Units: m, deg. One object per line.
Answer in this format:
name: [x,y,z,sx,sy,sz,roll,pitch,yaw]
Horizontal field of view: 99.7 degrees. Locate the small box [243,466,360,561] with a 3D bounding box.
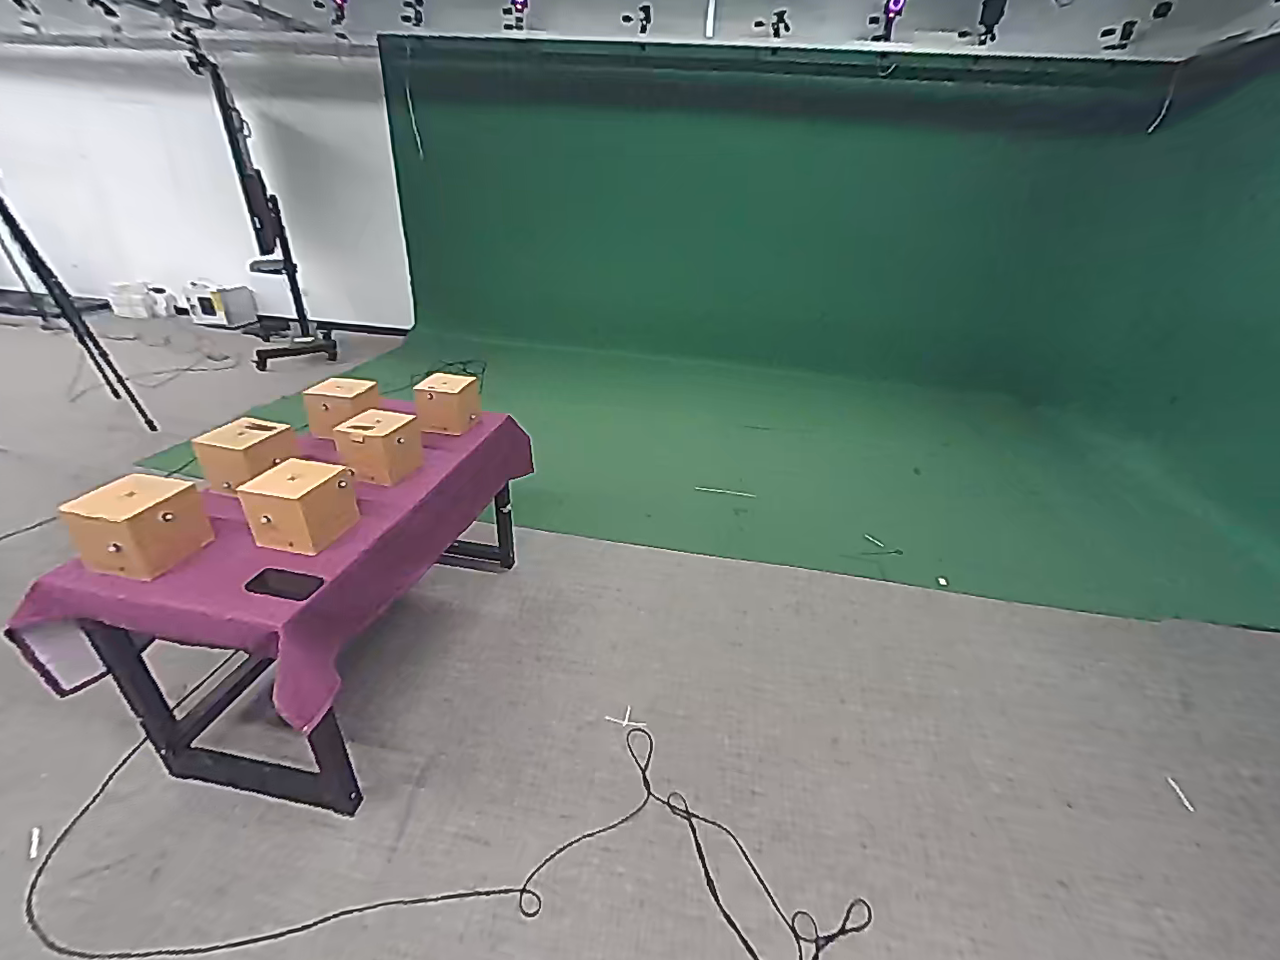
small box: [-0.840,0.084,1.366,0.168,0.176,0.179,8,28,9]

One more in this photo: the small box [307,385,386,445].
small box: [-1.027,-0.224,1.912,0.179,0.176,0.168,7,29,5]

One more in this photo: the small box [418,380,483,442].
small box: [-0.697,-0.258,2.010,0.168,0.176,0.179,7,28,7]

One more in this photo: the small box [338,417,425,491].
small box: [-0.790,-0.081,1.674,0.168,0.176,0.179,9,28,11]
